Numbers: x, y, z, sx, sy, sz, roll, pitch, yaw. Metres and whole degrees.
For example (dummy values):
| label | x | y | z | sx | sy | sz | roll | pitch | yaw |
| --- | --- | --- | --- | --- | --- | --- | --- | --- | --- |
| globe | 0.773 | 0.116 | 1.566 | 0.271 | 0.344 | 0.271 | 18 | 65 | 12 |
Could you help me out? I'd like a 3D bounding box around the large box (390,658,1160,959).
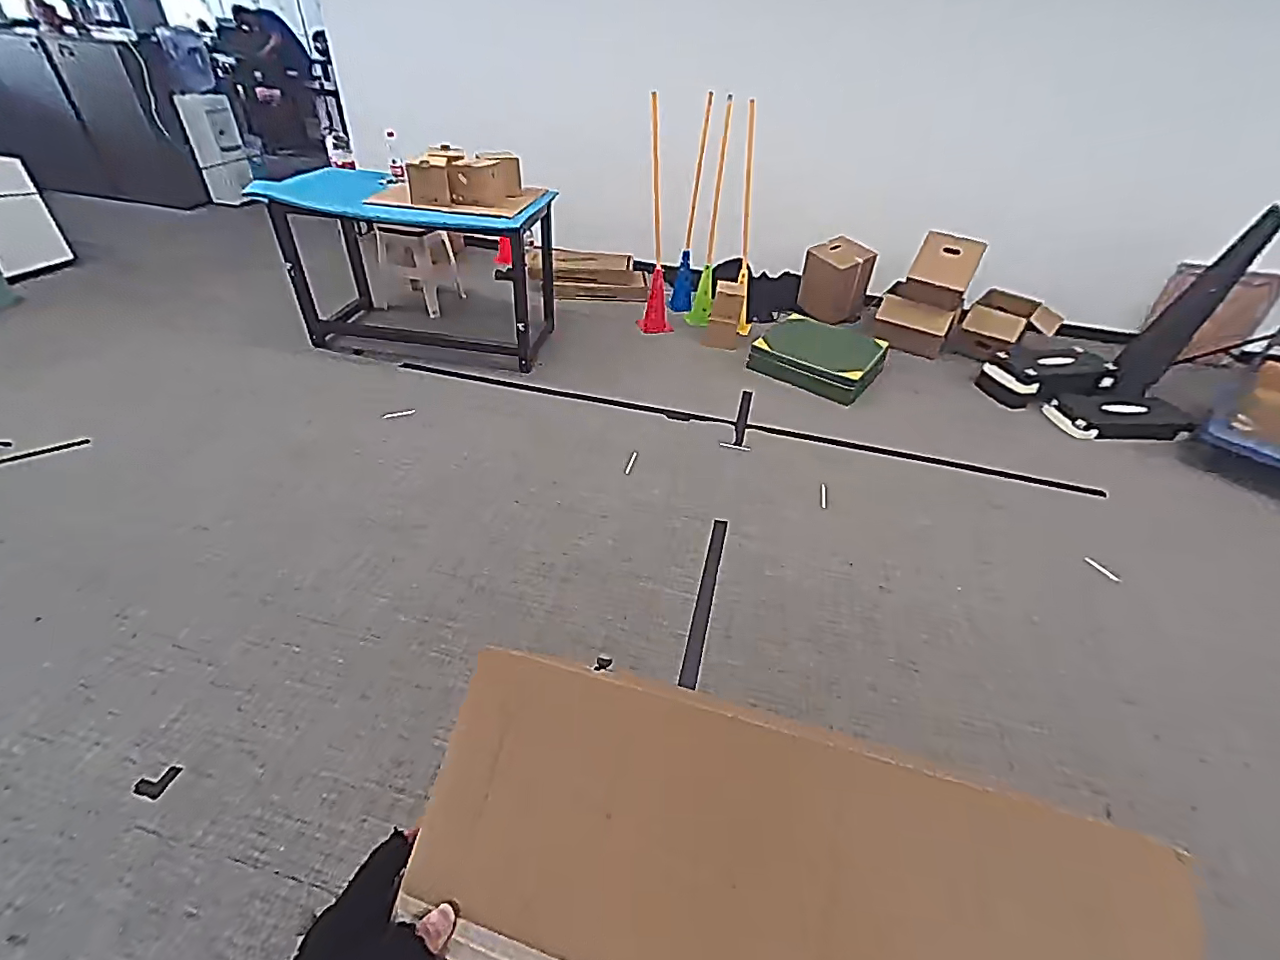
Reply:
| label | x | y | z | sx | sy | sz | roll | pitch | yaw |
| --- | --- | --- | --- | --- | --- | --- | --- | --- | --- |
| large box | 0.070 | 0.351 | 0.423 | 0.408 | 0.320 | 0.320 | 11 | 72 | 15 |
